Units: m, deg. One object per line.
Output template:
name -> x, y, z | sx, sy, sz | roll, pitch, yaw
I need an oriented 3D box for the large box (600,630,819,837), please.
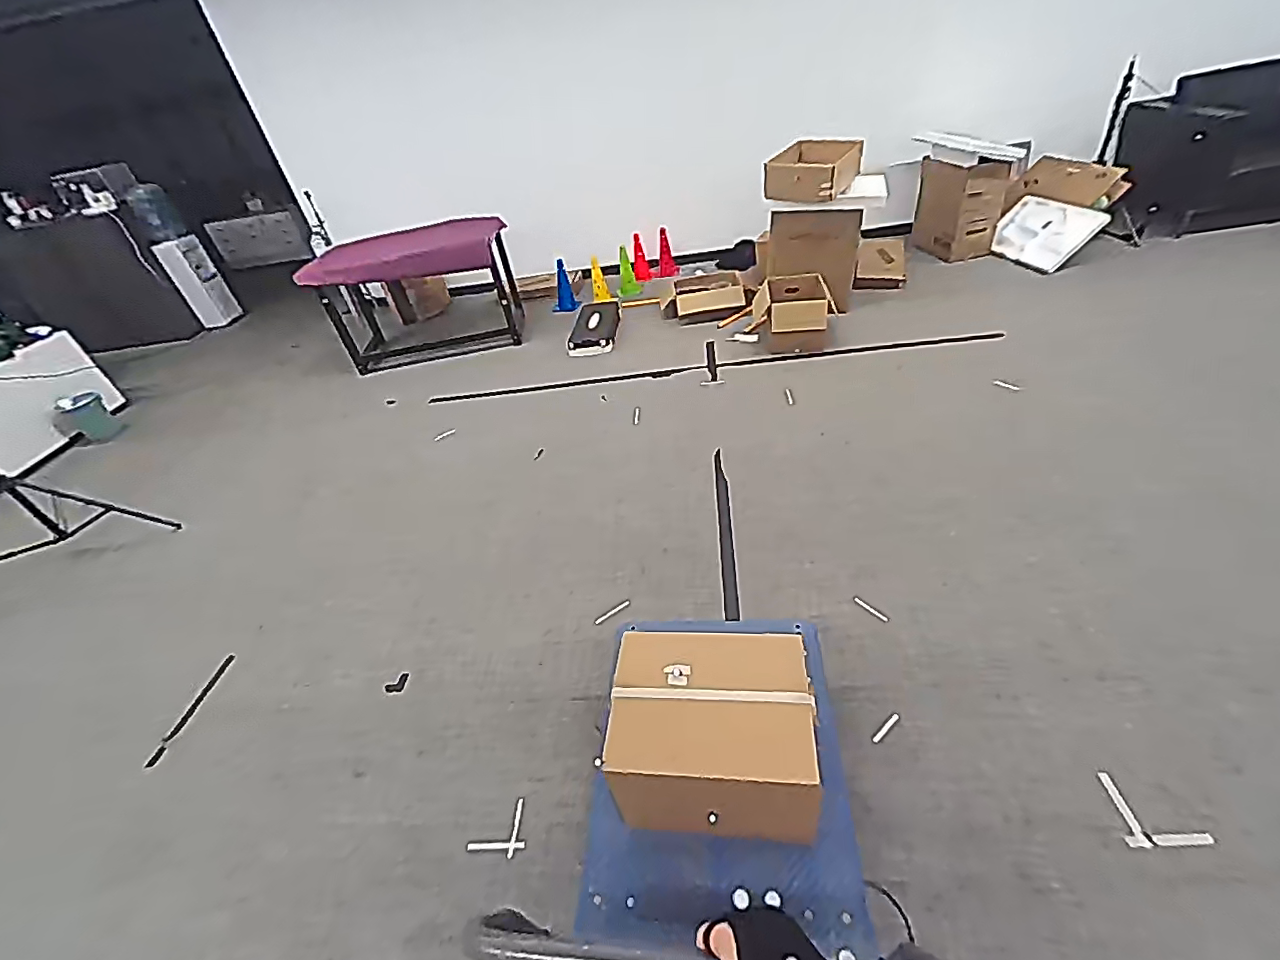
large box -> 0.160, 0.552, 1.187 | 0.408, 0.320, 0.320 | -4, 38, 11
